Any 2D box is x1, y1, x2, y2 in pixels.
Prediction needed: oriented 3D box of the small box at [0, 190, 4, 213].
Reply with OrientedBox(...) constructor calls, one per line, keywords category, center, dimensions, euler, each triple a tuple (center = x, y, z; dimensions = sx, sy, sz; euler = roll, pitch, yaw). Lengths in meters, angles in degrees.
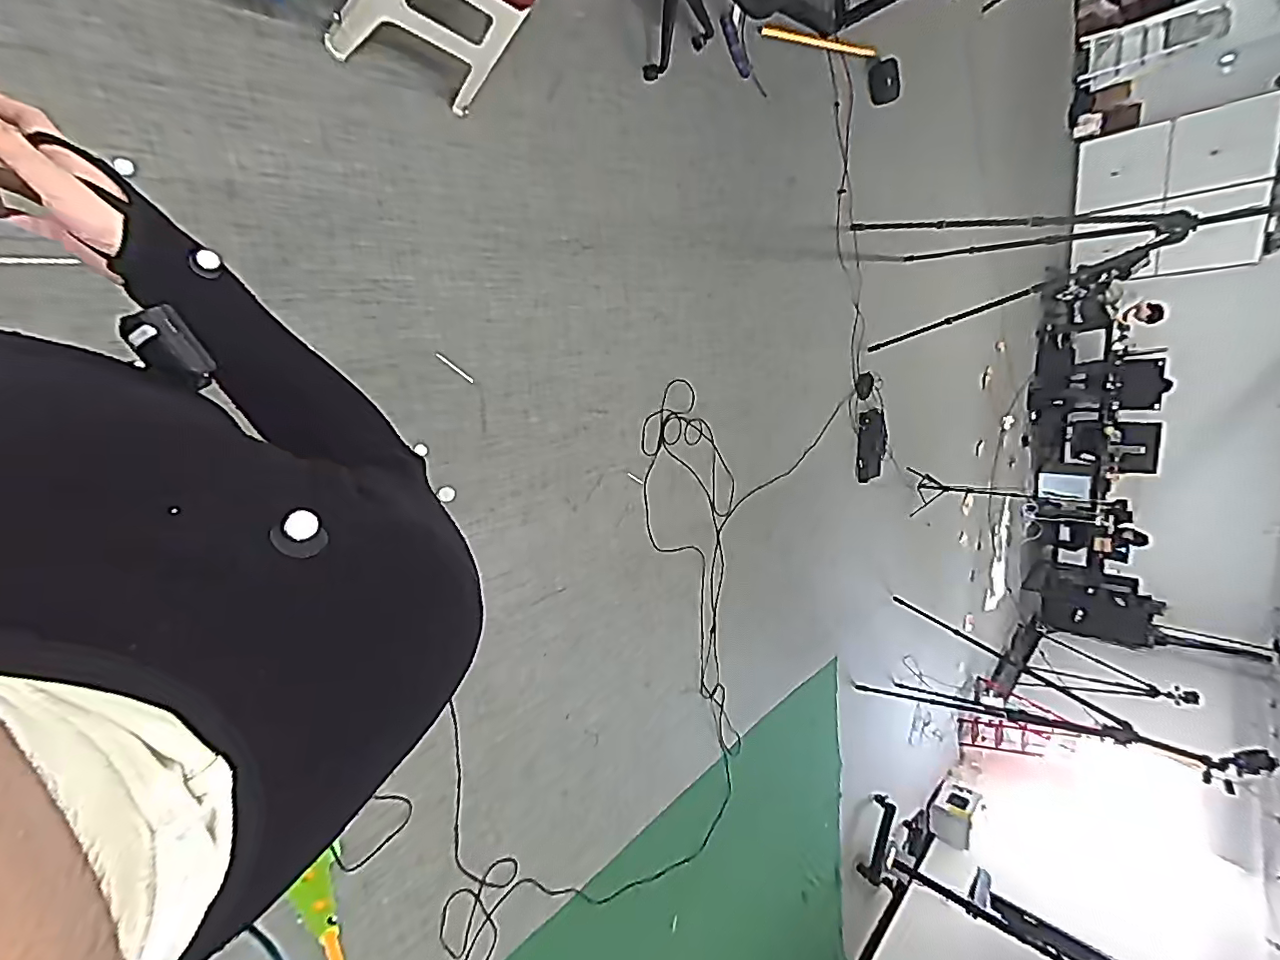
OrientedBox(category="small box", center=(-0.533, -0.273, 0.320), dimensions=(0.168, 0.176, 0.179), euler=(-18, 109, -42))
